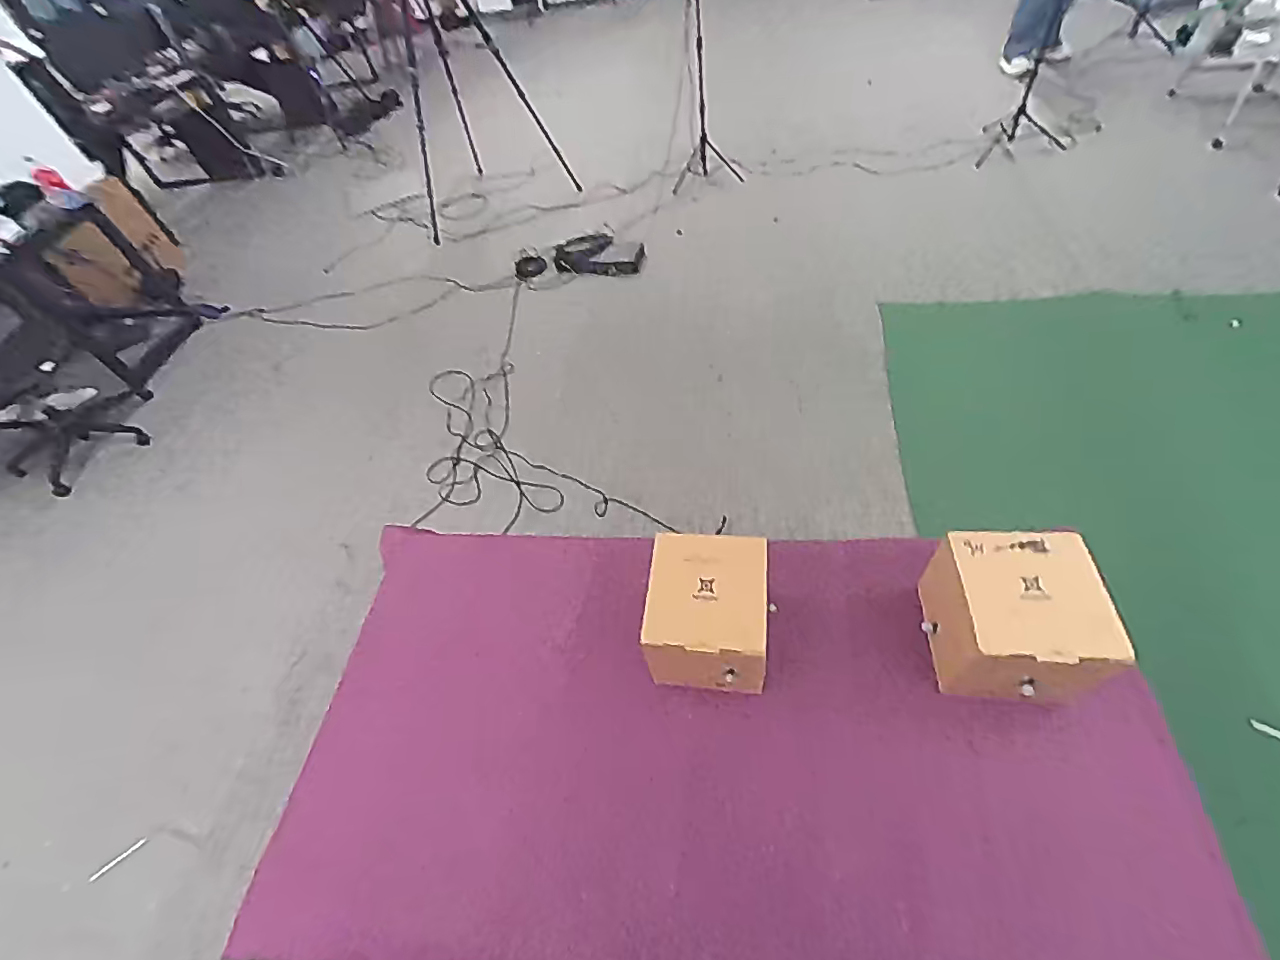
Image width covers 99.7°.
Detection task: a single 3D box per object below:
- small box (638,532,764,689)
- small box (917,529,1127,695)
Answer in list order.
[{"bbox_3d":[0.101,0.199,0.814,0.168,0.176,0.179,2,53,11],"label":"small box"},{"bbox_3d":[0.502,0.184,0.745,0.168,0.176,0.179,-1,53,11],"label":"small box"}]
